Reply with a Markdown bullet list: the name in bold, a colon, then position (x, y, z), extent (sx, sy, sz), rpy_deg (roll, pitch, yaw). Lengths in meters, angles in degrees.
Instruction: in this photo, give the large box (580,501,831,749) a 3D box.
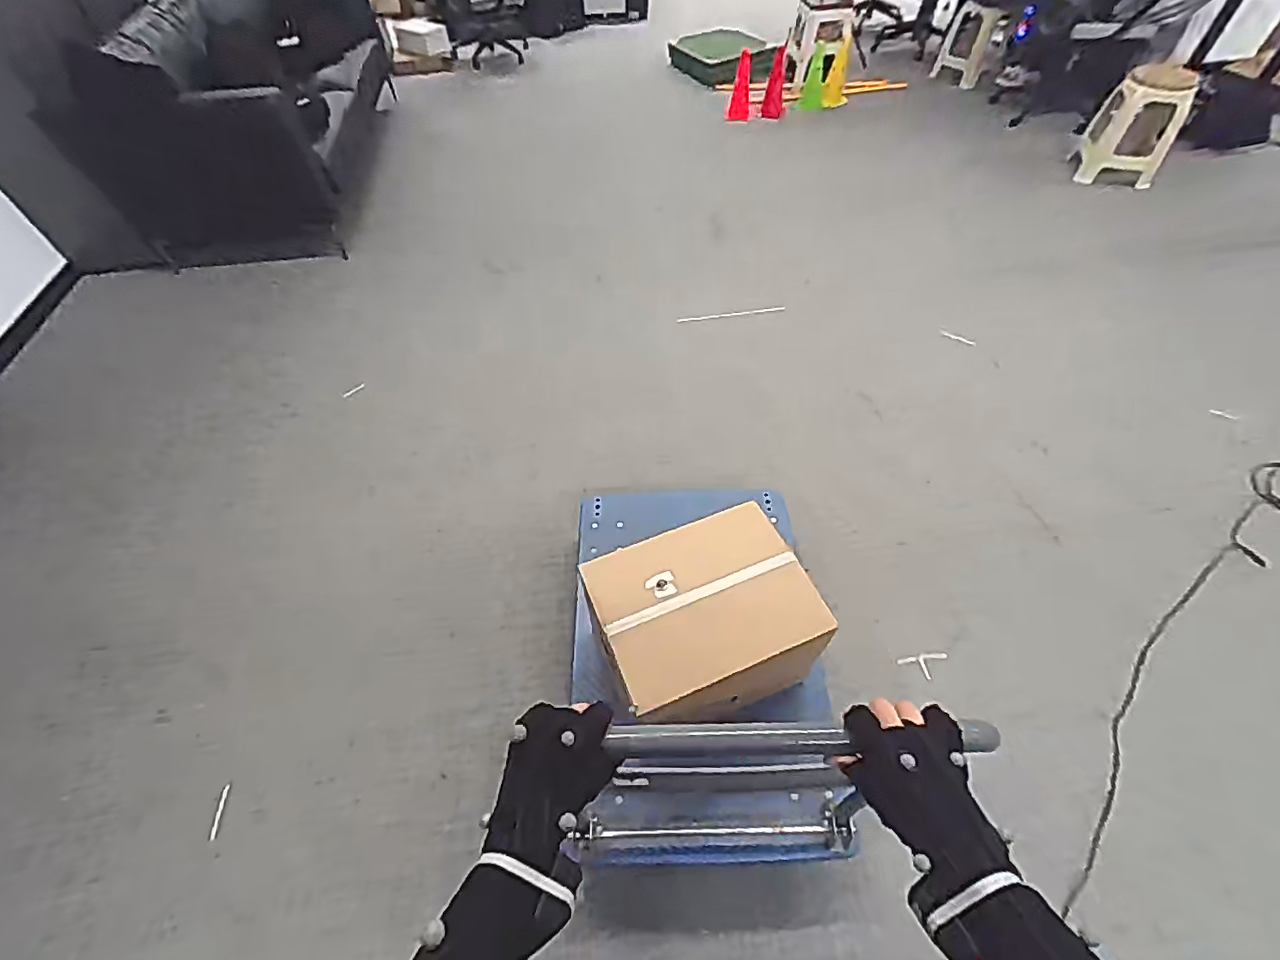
- **large box**: position (0.126, 0.312, 1.162), extent (0.408, 0.320, 0.320), rpy_deg (-21, 53, -12)
